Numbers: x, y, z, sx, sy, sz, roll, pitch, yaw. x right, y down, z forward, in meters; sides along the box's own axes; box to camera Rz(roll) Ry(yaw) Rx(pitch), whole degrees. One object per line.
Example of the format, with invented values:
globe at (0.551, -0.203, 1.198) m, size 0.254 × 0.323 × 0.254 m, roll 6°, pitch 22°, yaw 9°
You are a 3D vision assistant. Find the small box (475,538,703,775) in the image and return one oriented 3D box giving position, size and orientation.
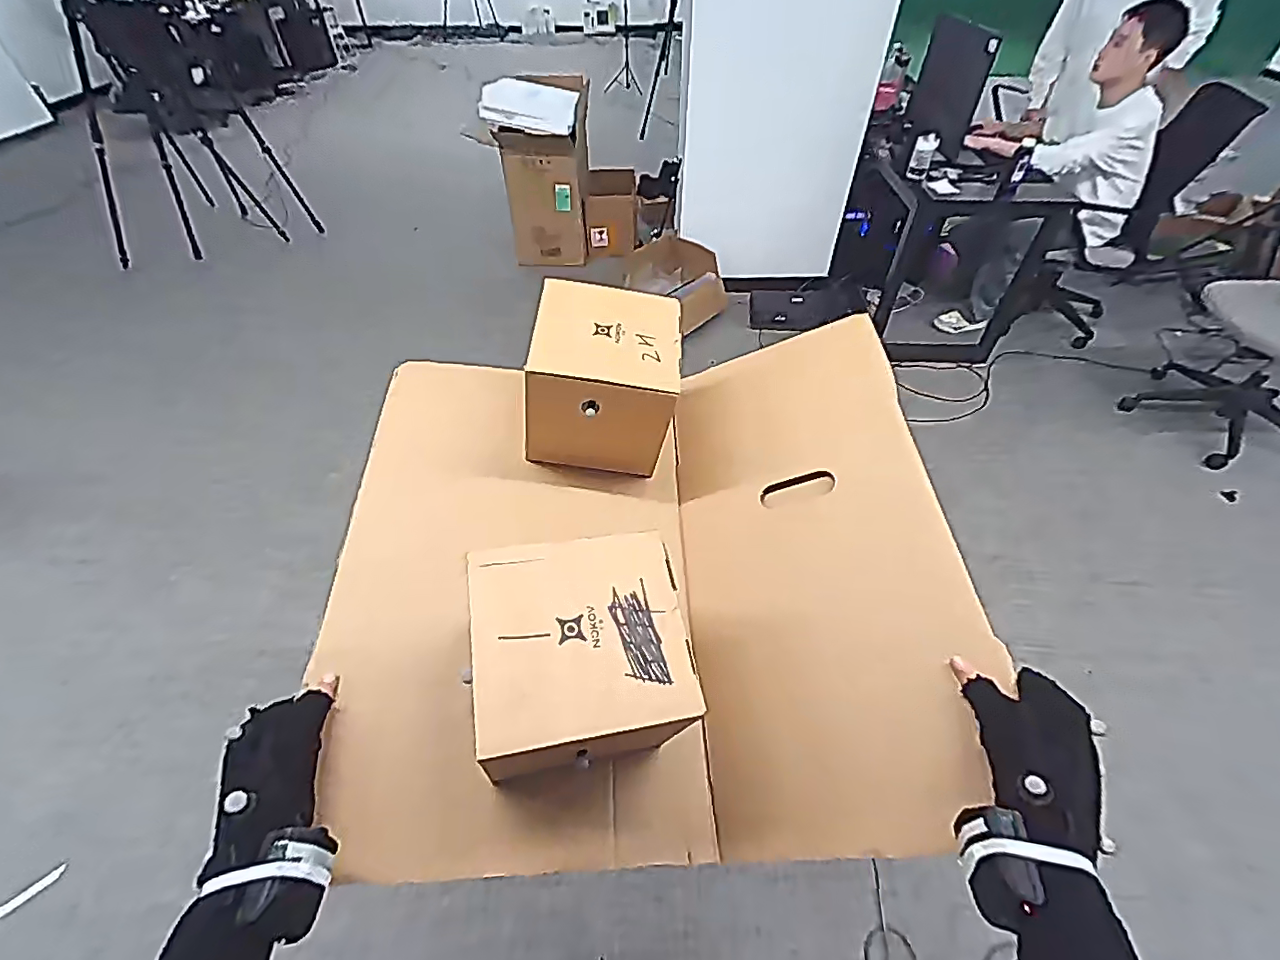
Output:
small box at (-0.060, 0.171, 0.518) m, size 0.179 × 0.176 × 0.168 m, roll -4°, pitch 58°, yaw -14°

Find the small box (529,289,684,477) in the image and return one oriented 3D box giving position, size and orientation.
small box at (-0.046, -0.120, 0.715) m, size 0.179 × 0.176 × 0.168 m, roll 9°, pitch 56°, yaw -7°
